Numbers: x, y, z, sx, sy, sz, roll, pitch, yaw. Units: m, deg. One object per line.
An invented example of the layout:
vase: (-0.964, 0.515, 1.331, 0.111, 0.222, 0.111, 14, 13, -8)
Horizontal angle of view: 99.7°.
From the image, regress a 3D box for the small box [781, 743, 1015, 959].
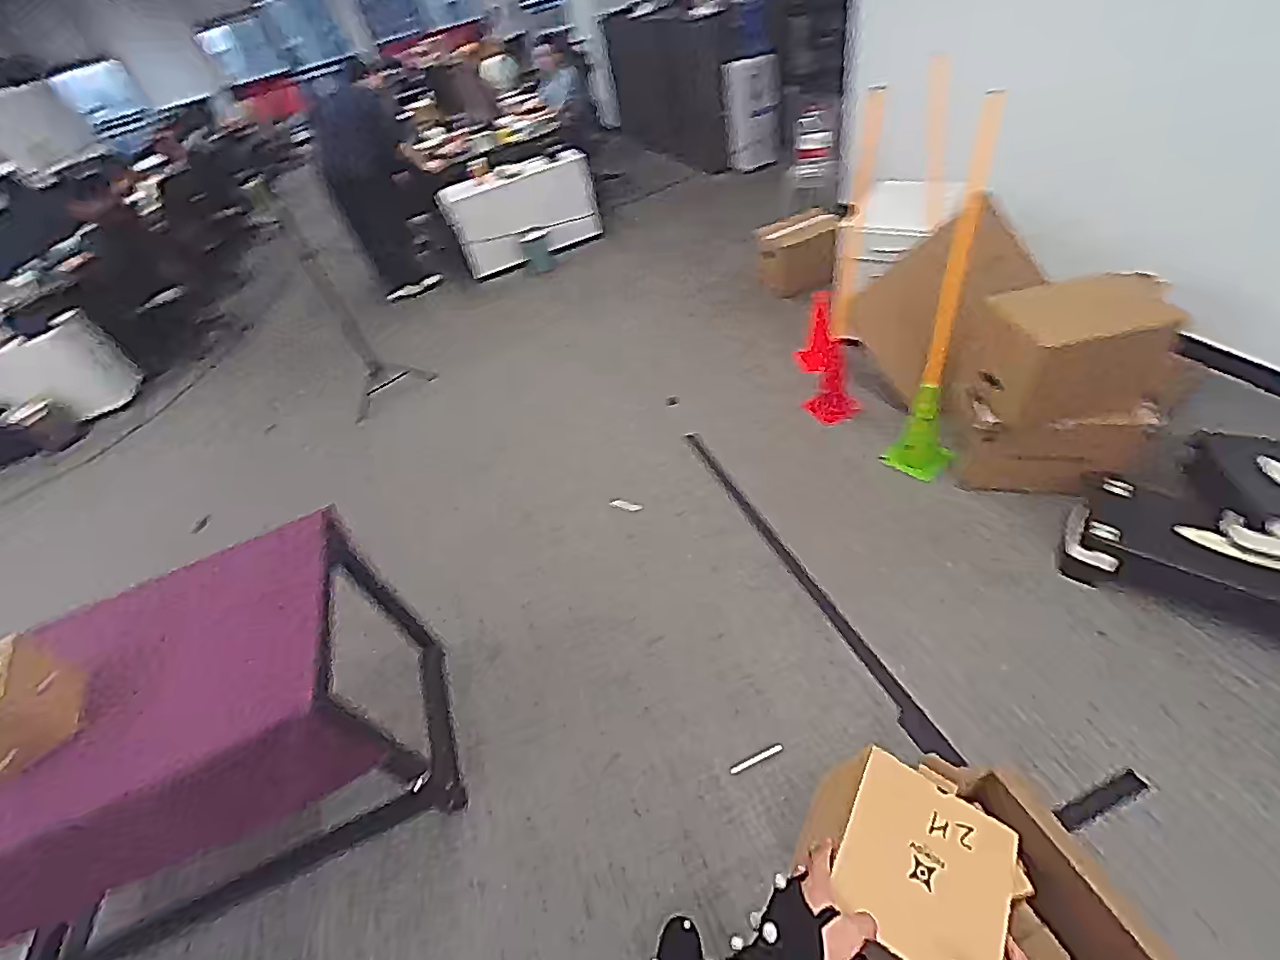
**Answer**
small box: (0.276, 0.443, 0.607, 0.168, 0.176, 0.179, 29, 51, 16)
